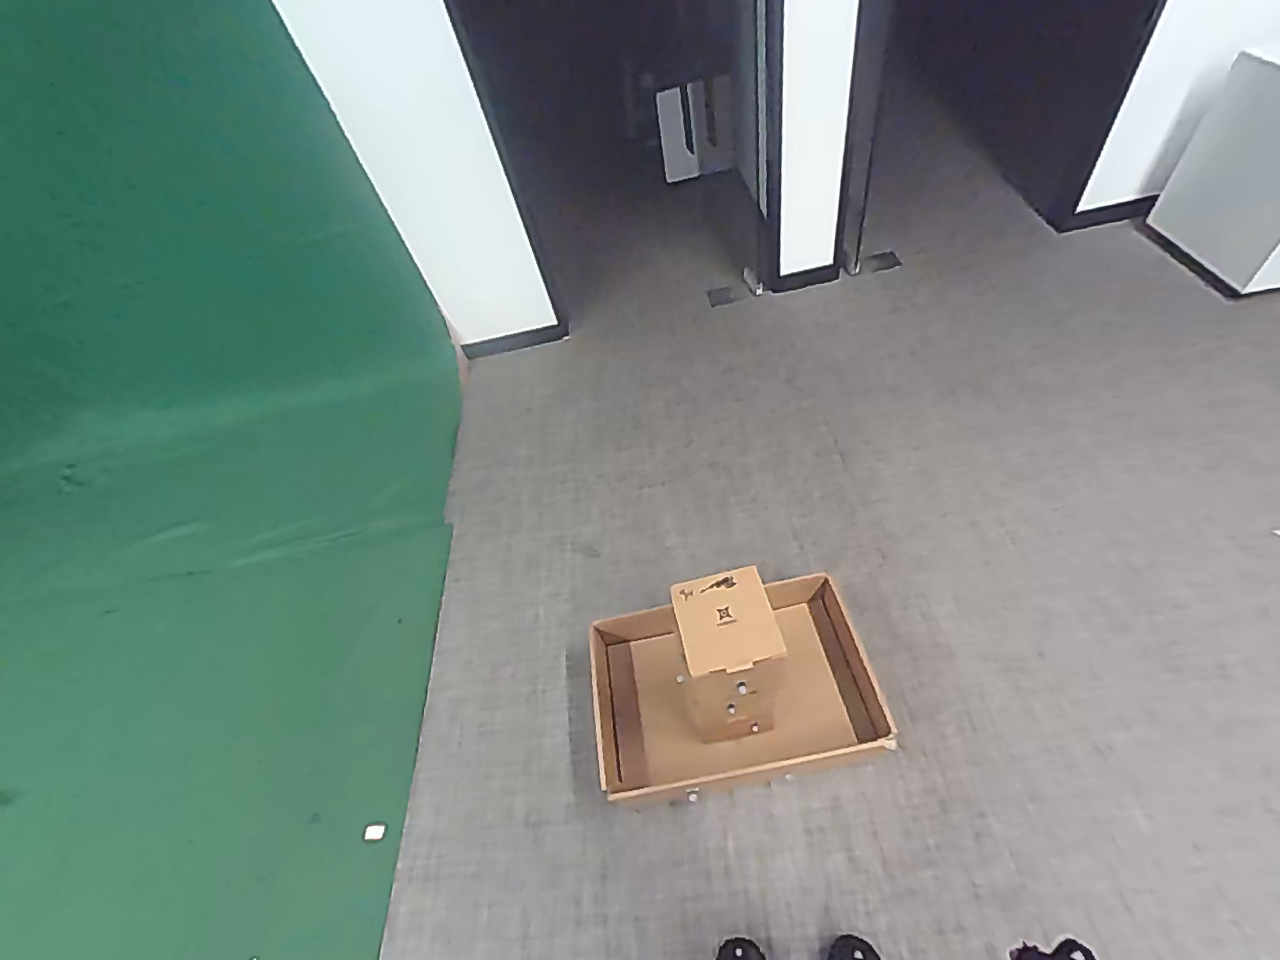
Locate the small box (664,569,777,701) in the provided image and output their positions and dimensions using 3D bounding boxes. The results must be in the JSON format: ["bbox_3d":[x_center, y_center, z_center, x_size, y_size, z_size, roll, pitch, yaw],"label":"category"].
[{"bbox_3d":[0.153,0.300,1.023,0.168,0.176,0.179,-16,50,1],"label":"small box"}]

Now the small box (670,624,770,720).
[{"bbox_3d":[0.169,0.396,1.152,0.179,0.176,0.168,-12,50,3],"label":"small box"}]

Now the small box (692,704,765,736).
[{"bbox_3d":[0.193,0.483,1.268,0.168,0.176,0.179,-12,49,2],"label":"small box"}]
